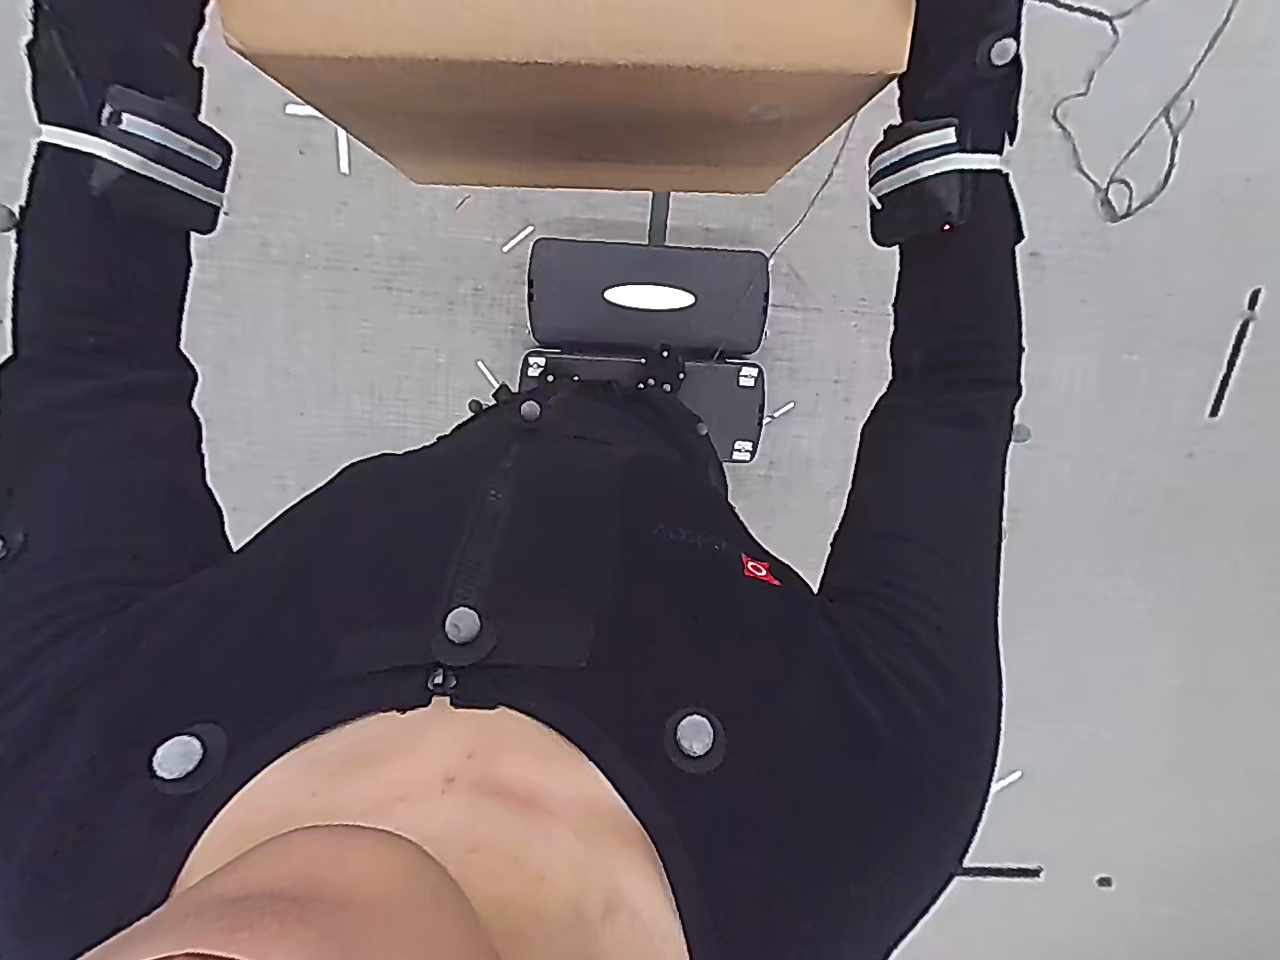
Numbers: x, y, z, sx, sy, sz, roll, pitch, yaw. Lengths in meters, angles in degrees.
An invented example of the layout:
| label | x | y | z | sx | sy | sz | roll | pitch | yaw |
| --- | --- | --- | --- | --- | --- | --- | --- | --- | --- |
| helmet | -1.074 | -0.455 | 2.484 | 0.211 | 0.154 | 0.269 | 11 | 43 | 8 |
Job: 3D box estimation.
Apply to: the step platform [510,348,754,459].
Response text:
| label | x | y | z | sx | sy | sz | roll | pitch | yaw |
| --- | --- | --- | --- | --- | --- | --- | --- | --- | --- |
| step platform | -0.022 | -0.218 | 1.545 | 0.684 | 0.204 | 0.286 | 2 | 103 | -2 |

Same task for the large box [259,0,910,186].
| label | x | y | z | sx | sy | sz | roll | pitch | yaw |
| --- | --- | --- | --- | --- | --- | --- | --- | --- | --- |
| large box | -0.038 | -0.448 | 0.440 | 0.408 | 0.320 | 0.320 | 0 | 106 | -4 |
